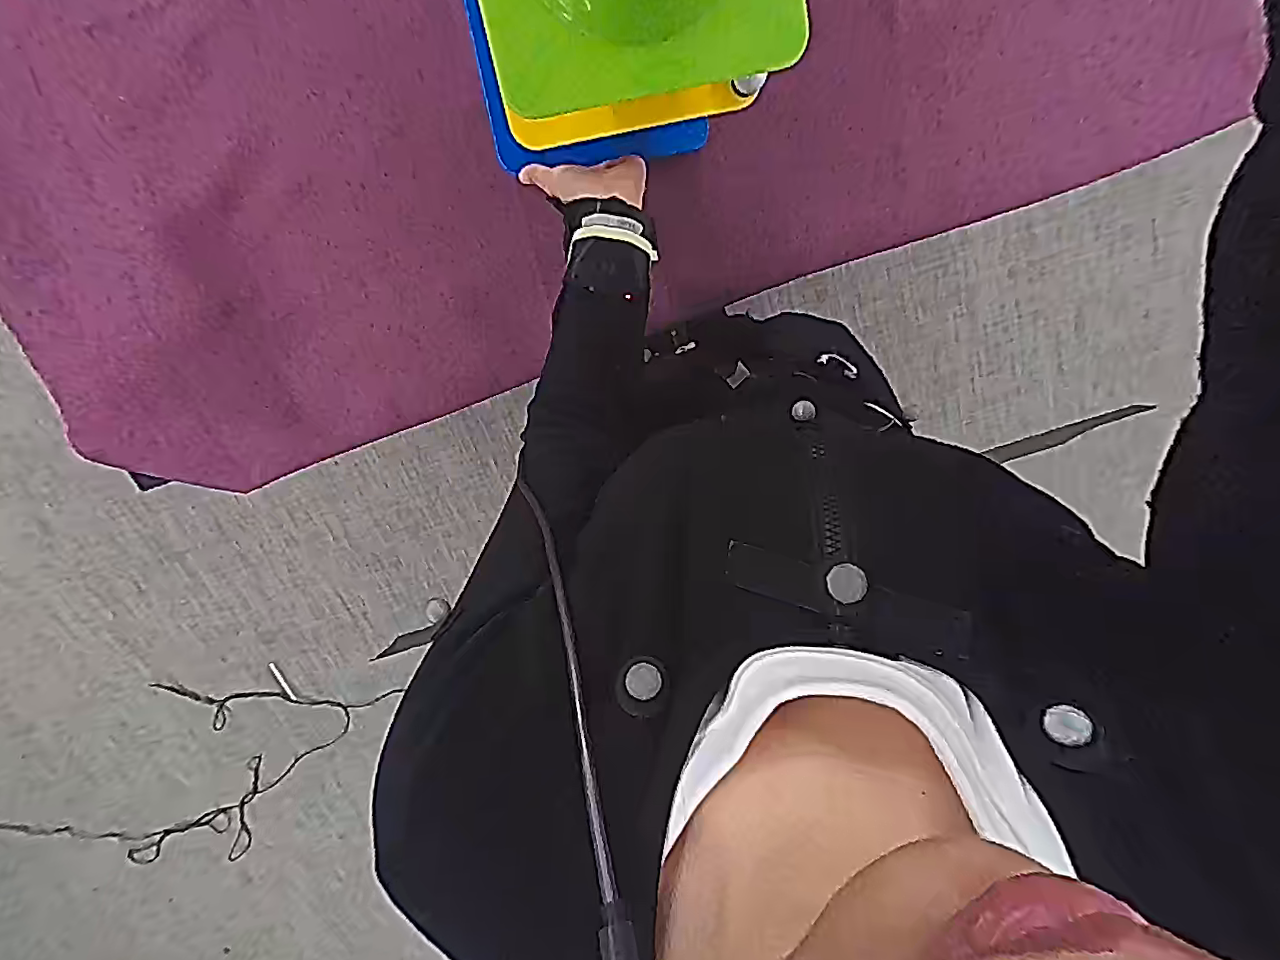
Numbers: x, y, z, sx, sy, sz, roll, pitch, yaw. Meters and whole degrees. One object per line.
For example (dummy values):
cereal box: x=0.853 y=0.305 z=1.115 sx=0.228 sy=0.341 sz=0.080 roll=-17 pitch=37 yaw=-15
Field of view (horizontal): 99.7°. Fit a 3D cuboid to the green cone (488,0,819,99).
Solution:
green cone: x=0.008 y=-0.310 z=0.145 sx=0.200 sy=0.368 sz=0.202 roll=-13 pitch=103 yaw=-1
